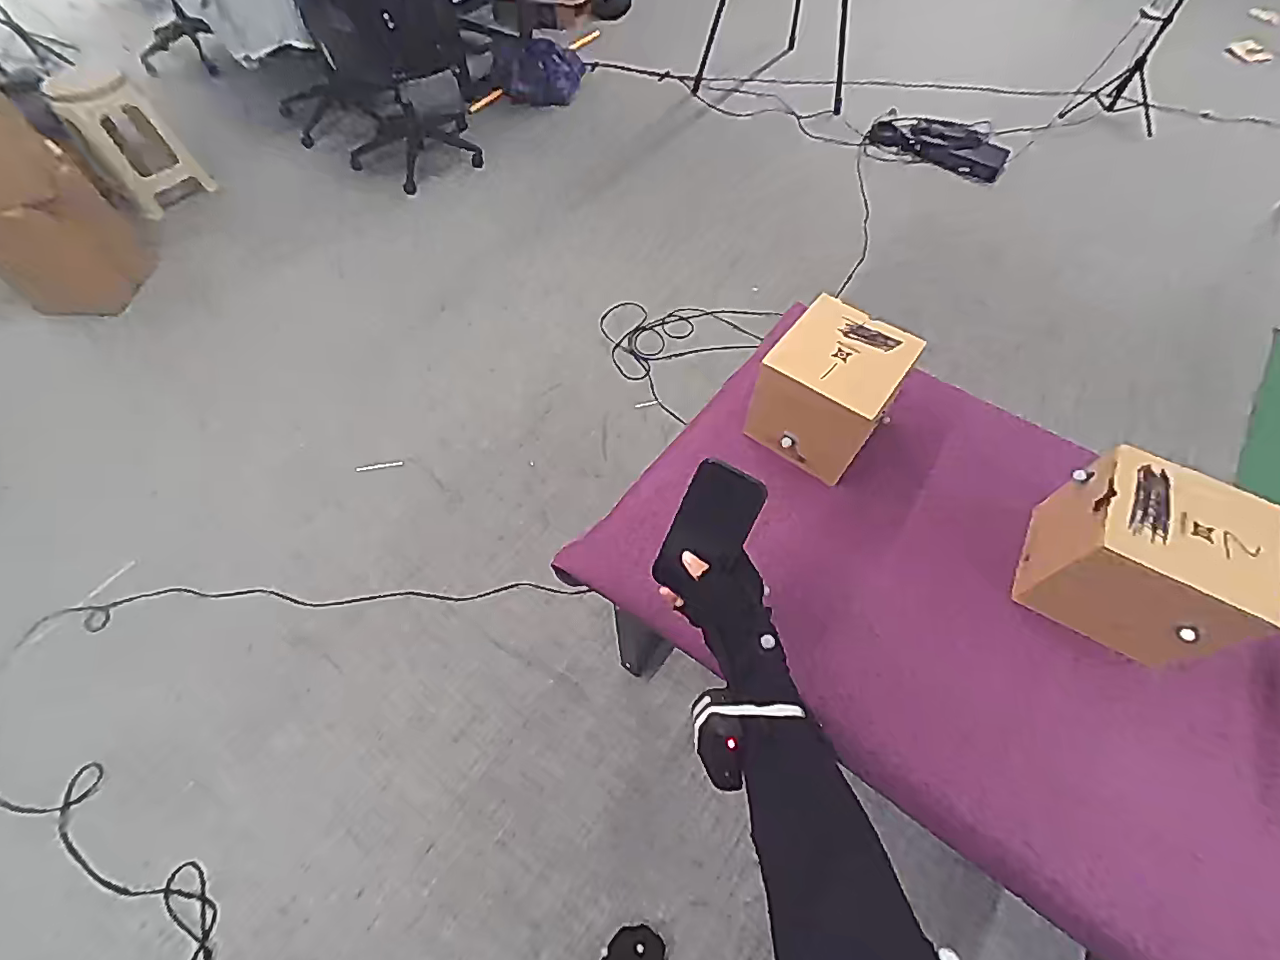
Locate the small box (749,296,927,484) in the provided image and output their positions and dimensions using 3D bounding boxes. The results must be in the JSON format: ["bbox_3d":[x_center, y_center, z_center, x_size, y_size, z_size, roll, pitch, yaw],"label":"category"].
[{"bbox_3d":[0.280,-0.129,0.803,0.168,0.176,0.179,34,65,19],"label":"small box"}]
